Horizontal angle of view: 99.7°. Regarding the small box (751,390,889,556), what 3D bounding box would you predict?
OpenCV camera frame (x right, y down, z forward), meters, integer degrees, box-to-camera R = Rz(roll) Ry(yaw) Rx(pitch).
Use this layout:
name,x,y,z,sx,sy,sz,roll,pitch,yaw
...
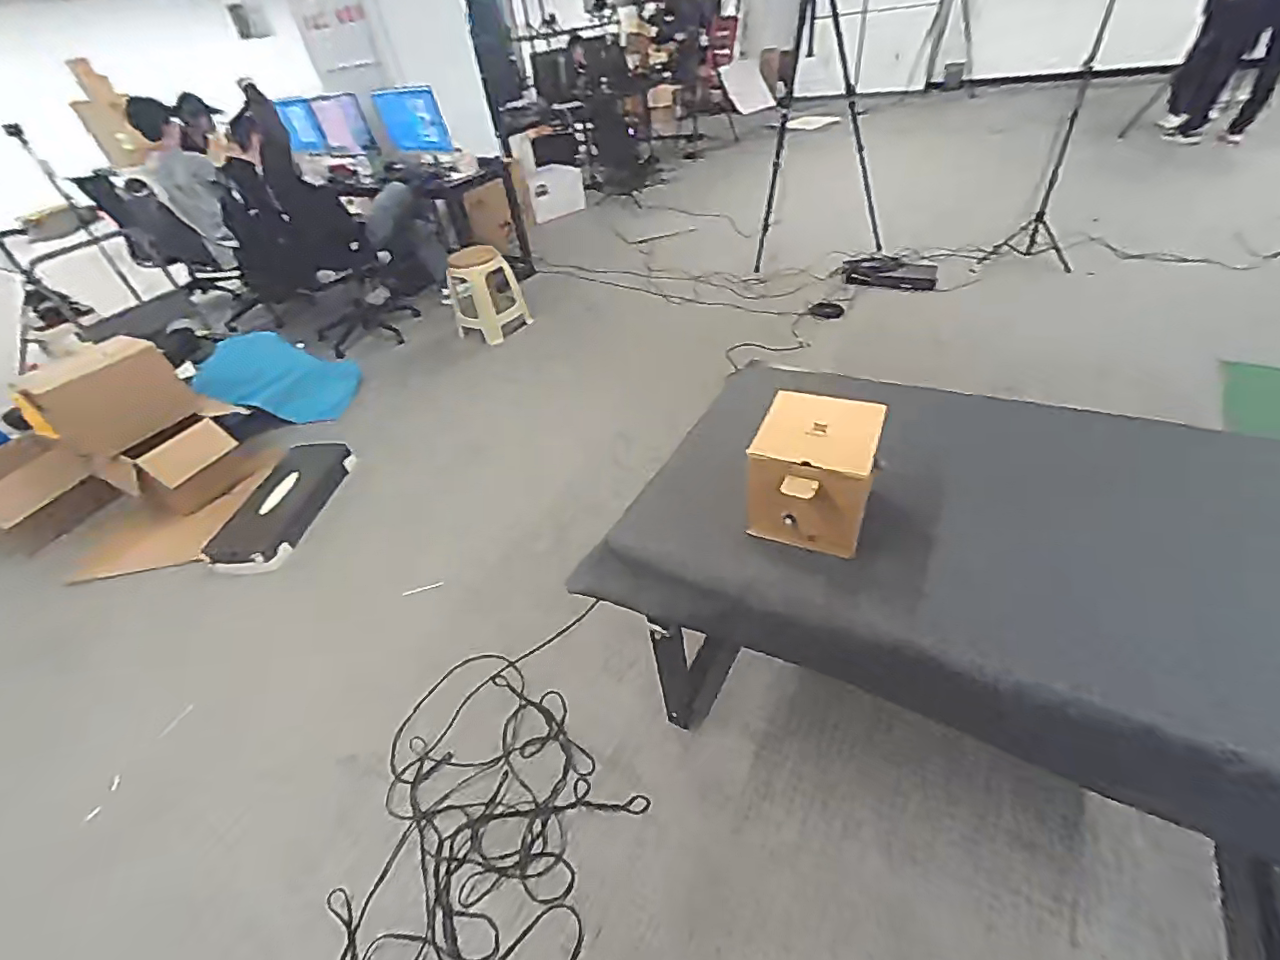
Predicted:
name,x,y,z,sx,sy,sz,roll,pitch,yaw
small box,0.275,-0.014,0.845,0.168,0.176,0.179,13,46,23
